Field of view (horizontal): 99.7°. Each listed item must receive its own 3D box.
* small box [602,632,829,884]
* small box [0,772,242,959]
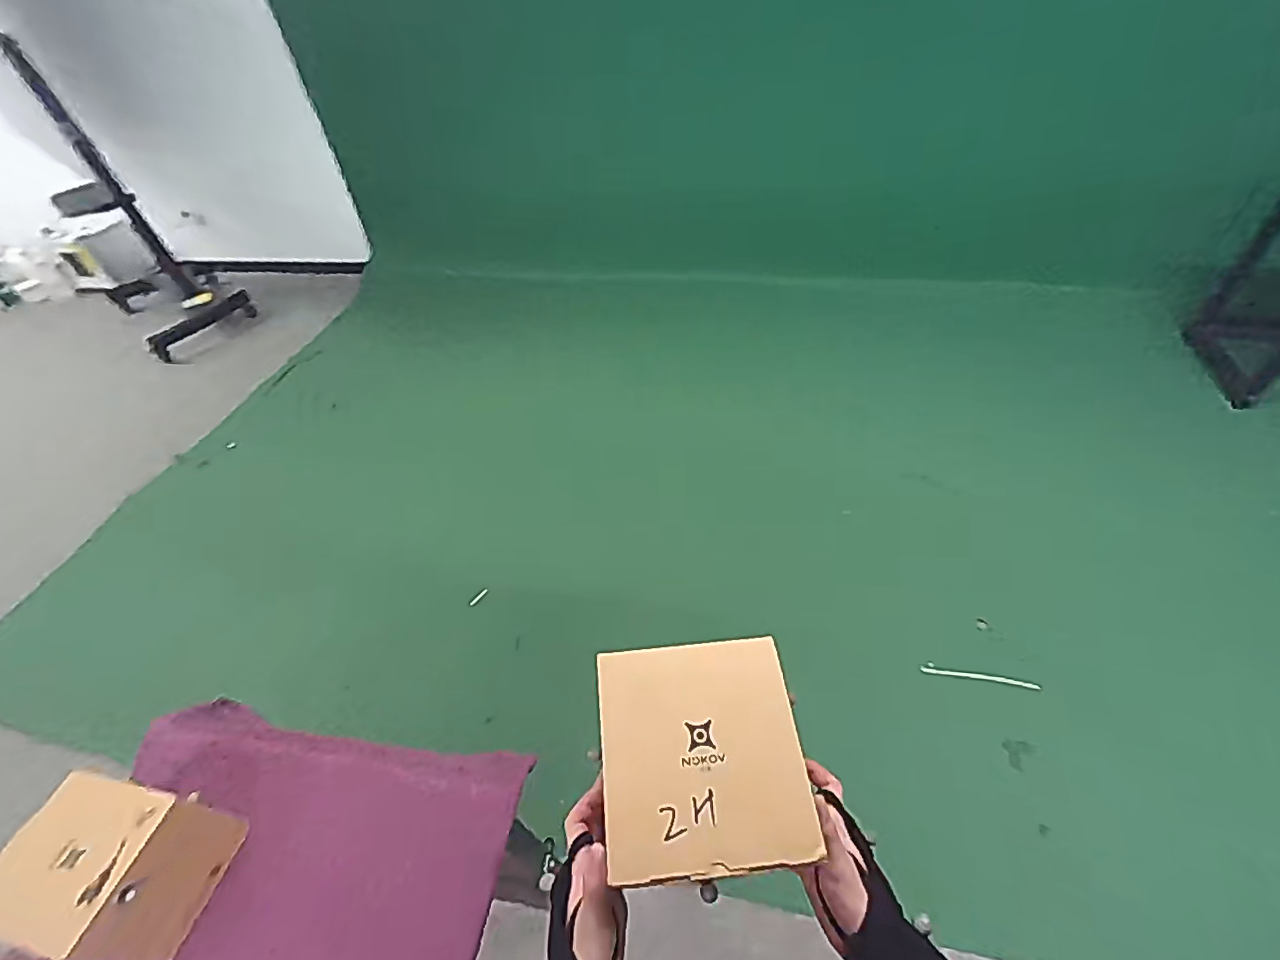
[{"bbox_3d":[0.053,0.260,0.502,0.168,0.176,0.179,-5,53,-1],"label":"small box"},{"bbox_3d":[-0.690,0.510,0.707,0.179,0.176,0.168,6,48,12],"label":"small box"}]
